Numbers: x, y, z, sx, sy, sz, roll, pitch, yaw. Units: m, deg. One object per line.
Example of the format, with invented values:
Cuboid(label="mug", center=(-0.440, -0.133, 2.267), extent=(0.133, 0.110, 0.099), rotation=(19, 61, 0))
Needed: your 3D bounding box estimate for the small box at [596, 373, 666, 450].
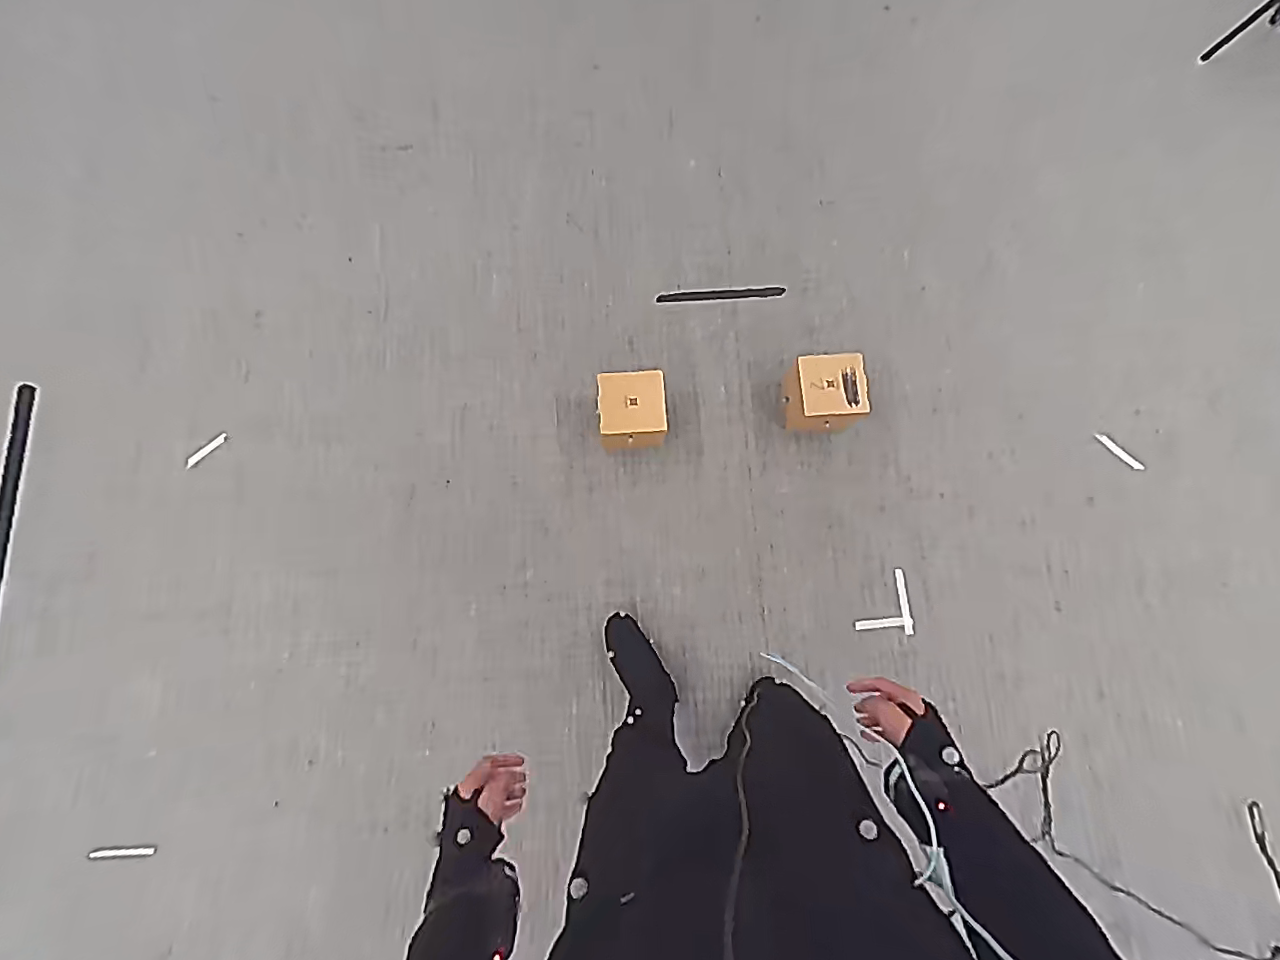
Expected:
Cuboid(label="small box", center=(-0.025, -0.183, 1.480), extent=(0.179, 0.176, 0.168), rotation=(-4, 80, -1))
